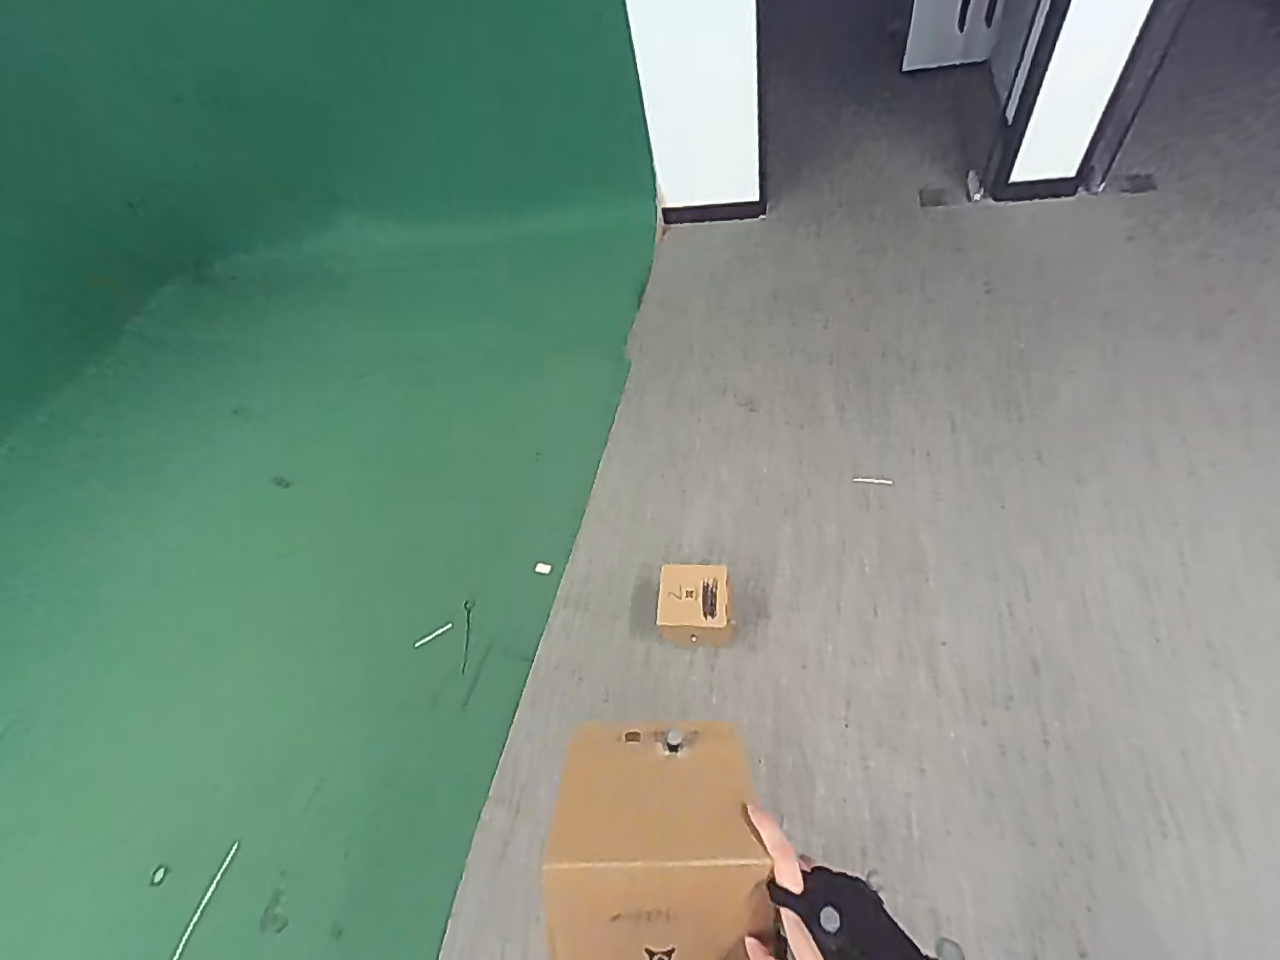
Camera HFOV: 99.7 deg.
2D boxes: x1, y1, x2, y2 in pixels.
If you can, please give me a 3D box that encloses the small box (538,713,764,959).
[{"bbox_3d":[0.009,0.335,0.480,0.168,0.176,0.179,-1,100,0],"label":"small box"}]
